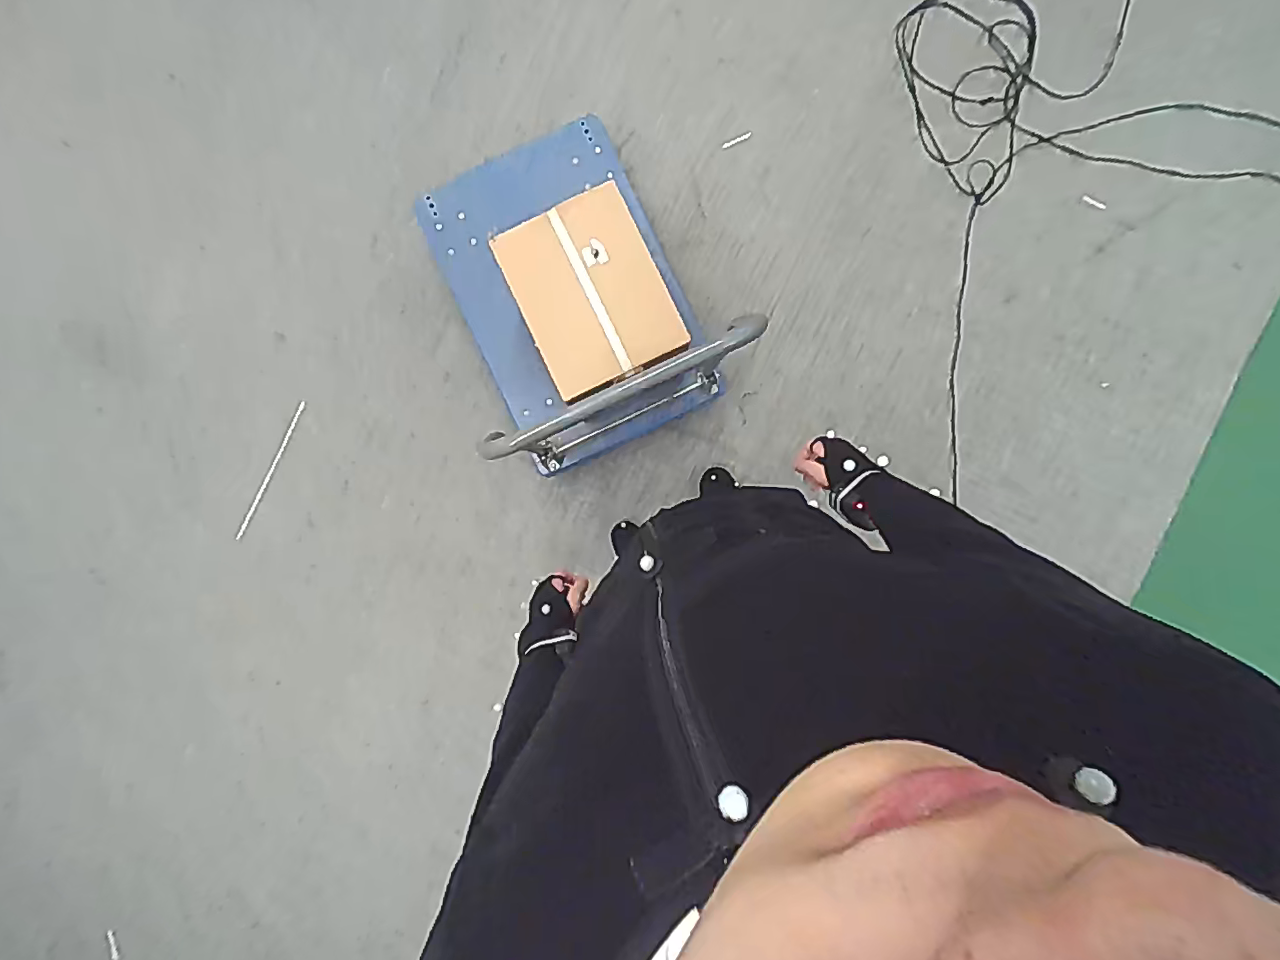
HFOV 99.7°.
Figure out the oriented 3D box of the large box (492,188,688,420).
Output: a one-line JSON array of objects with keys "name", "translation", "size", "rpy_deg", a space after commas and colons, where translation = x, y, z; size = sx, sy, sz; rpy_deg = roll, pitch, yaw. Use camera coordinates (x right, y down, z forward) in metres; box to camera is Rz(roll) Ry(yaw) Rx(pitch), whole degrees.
[{"name": "large box", "translation": [-0.106, -0.410, 1.355], "size": [0.320, 0.320, 0.408], "rpy_deg": [-25, 87, 0]}]
